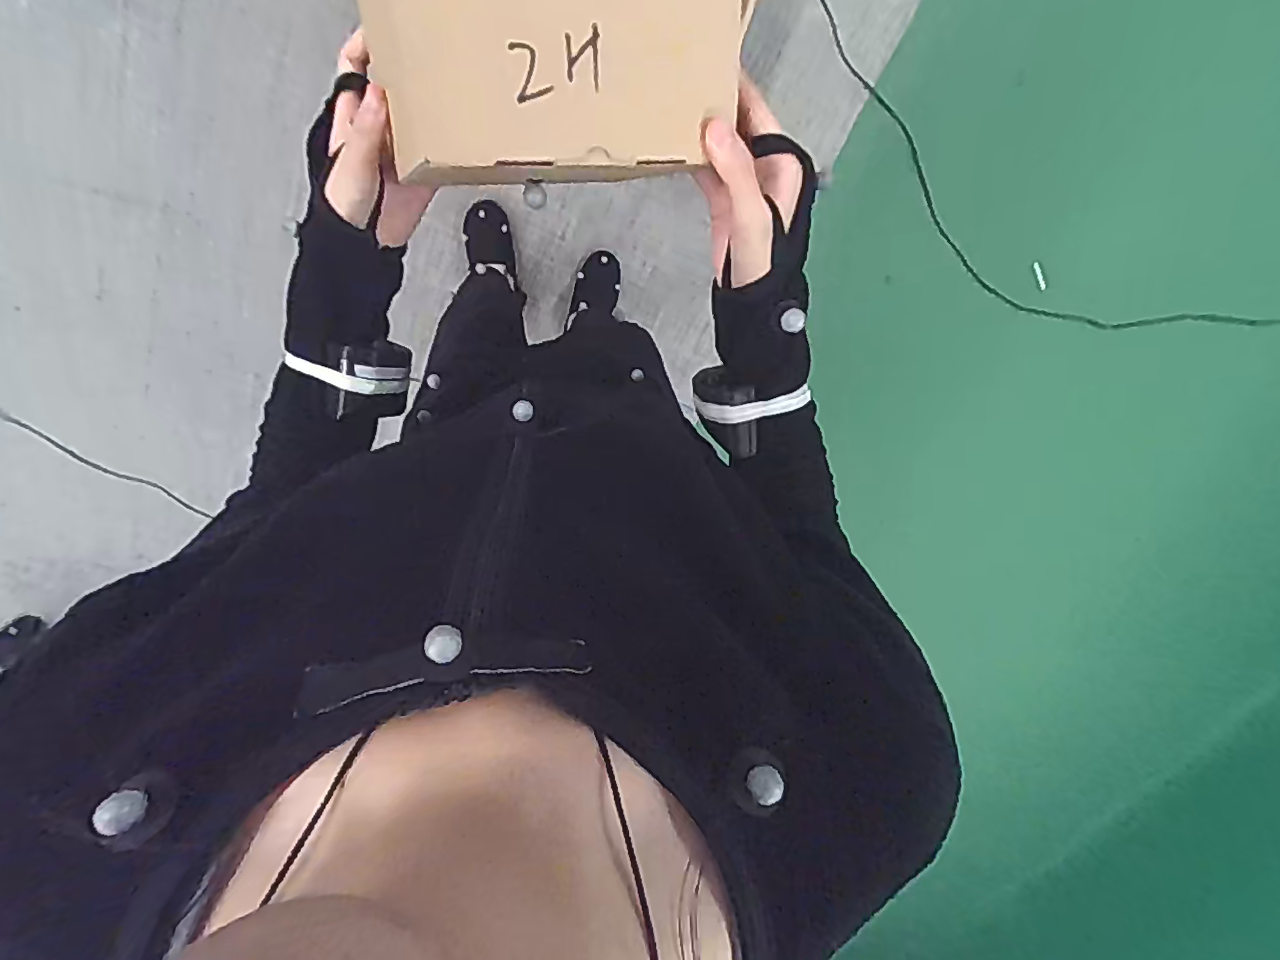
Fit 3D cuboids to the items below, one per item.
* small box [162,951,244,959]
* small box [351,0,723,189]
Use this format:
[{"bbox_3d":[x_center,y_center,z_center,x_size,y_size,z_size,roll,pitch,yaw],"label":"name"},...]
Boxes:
[{"bbox_3d":[-1.073,1.239,1.261,0.179,0.176,0.168,17,115,-15],"label":"small box"},{"bbox_3d":[-0.068,-0.267,0.301,0.168,0.176,0.179,-14,120,-21],"label":"small box"}]
